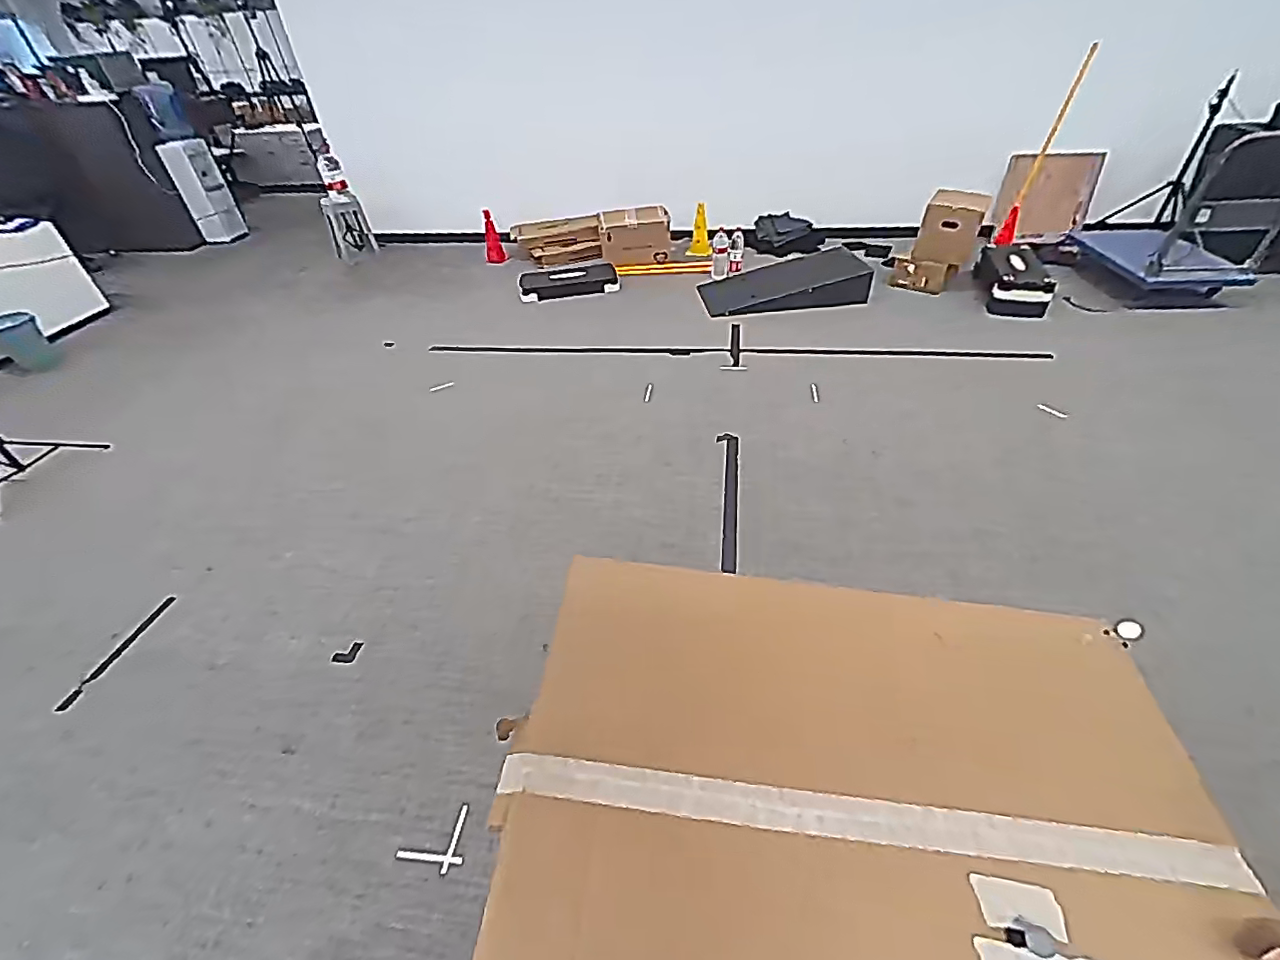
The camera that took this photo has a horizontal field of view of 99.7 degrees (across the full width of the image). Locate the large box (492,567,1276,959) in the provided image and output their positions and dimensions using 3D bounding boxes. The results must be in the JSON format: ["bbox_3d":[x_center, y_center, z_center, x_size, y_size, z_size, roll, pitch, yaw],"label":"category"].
[{"bbox_3d":[0.122,0.300,0.418,0.408,0.320,0.320,7,46,2],"label":"large box"}]
